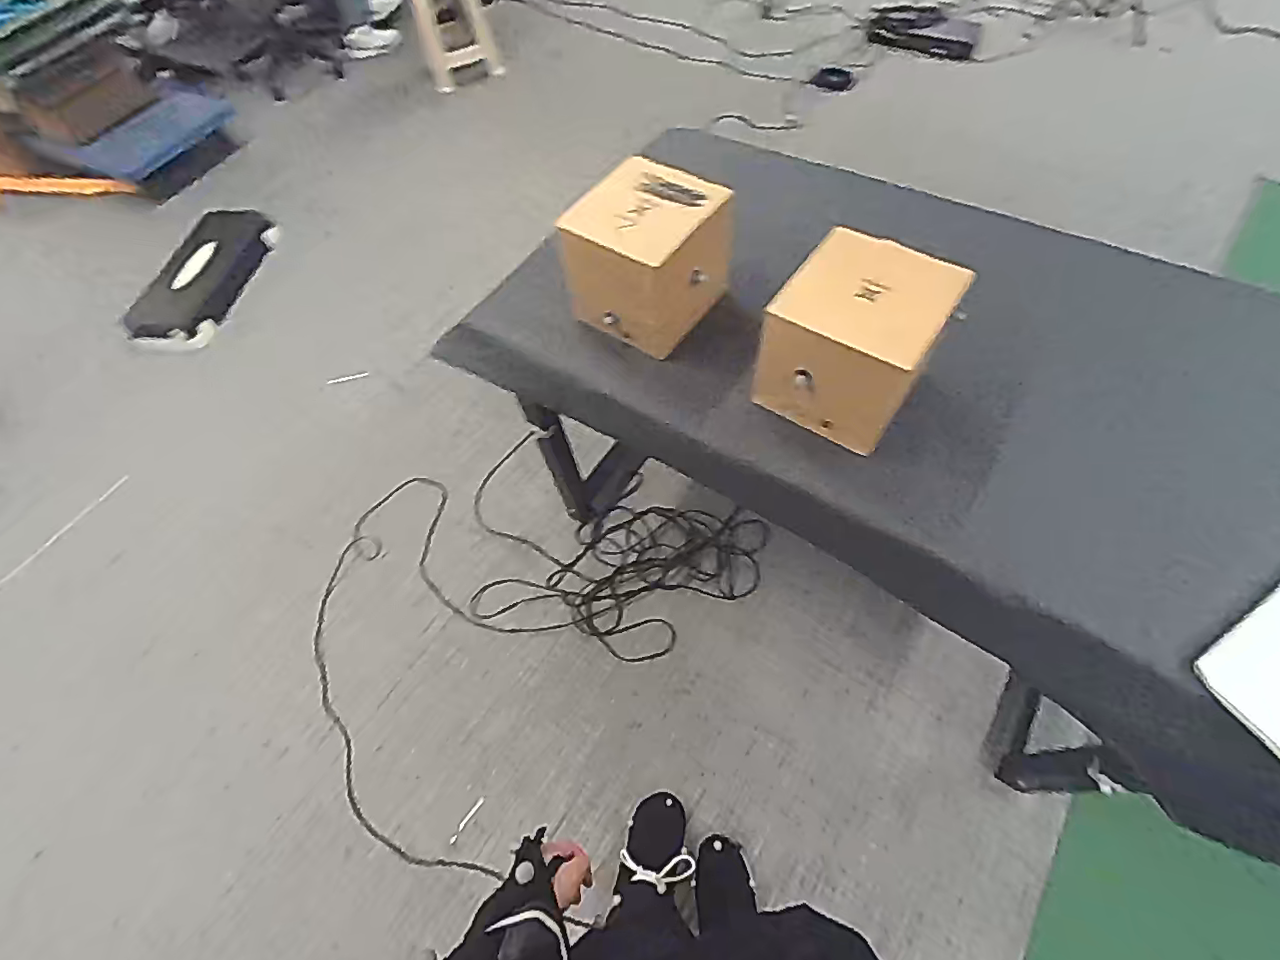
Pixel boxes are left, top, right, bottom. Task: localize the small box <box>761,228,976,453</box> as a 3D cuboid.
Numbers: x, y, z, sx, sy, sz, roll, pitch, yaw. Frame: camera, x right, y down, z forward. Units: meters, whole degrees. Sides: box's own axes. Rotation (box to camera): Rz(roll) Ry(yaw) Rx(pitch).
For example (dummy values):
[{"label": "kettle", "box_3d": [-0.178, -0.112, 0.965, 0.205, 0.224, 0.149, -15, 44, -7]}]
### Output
[{"label": "small box", "box_3d": [0.262, -0.164, 0.660, 0.168, 0.176, 0.179, 31, 67, 21]}]
